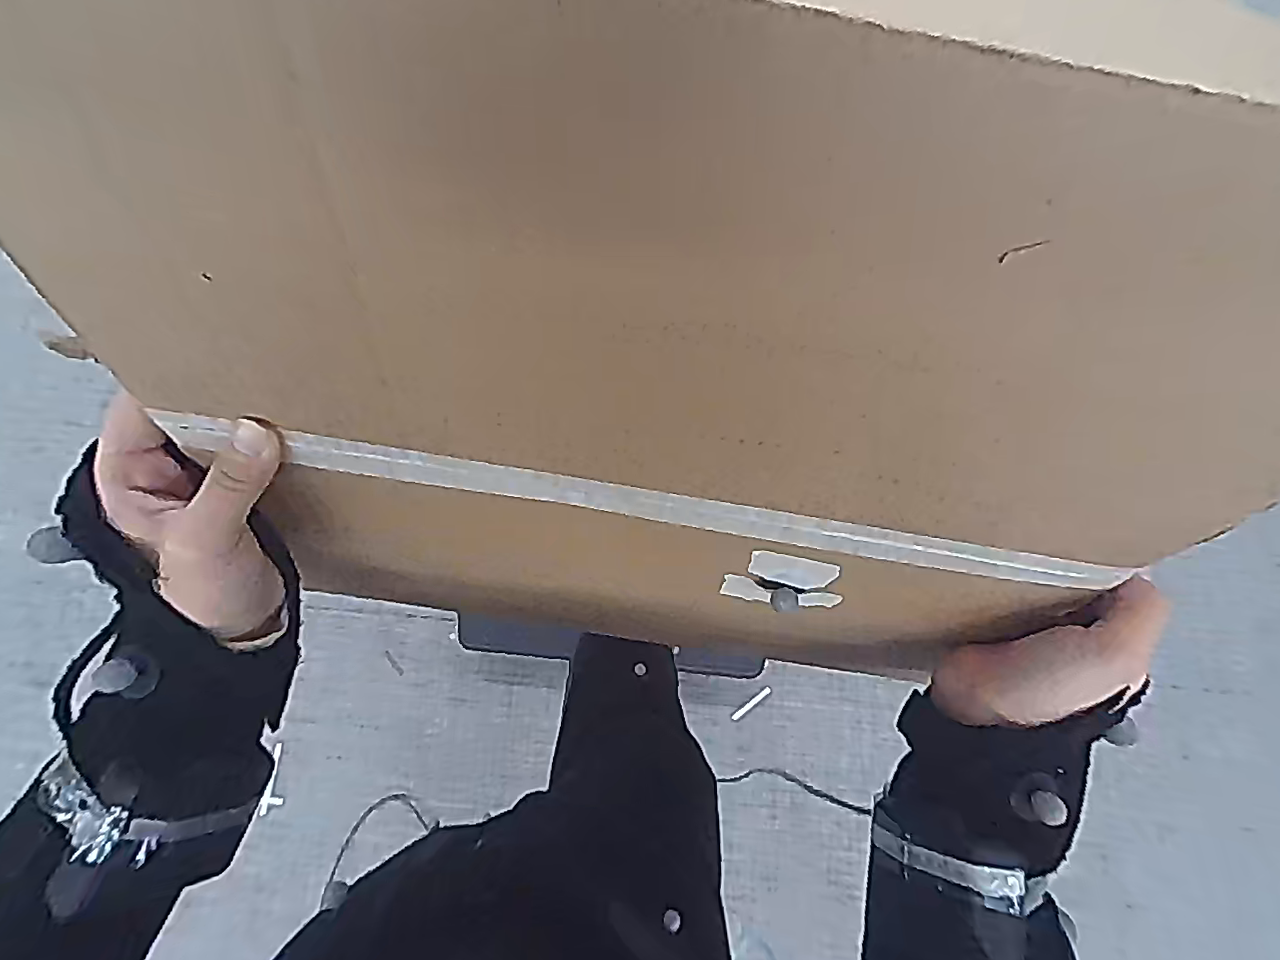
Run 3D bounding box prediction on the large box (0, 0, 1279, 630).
[{"bbox_3d":[0.039,-0.141,0.311,0.408,0.320,0.320,9,53,-3],"label":"large box"}]
